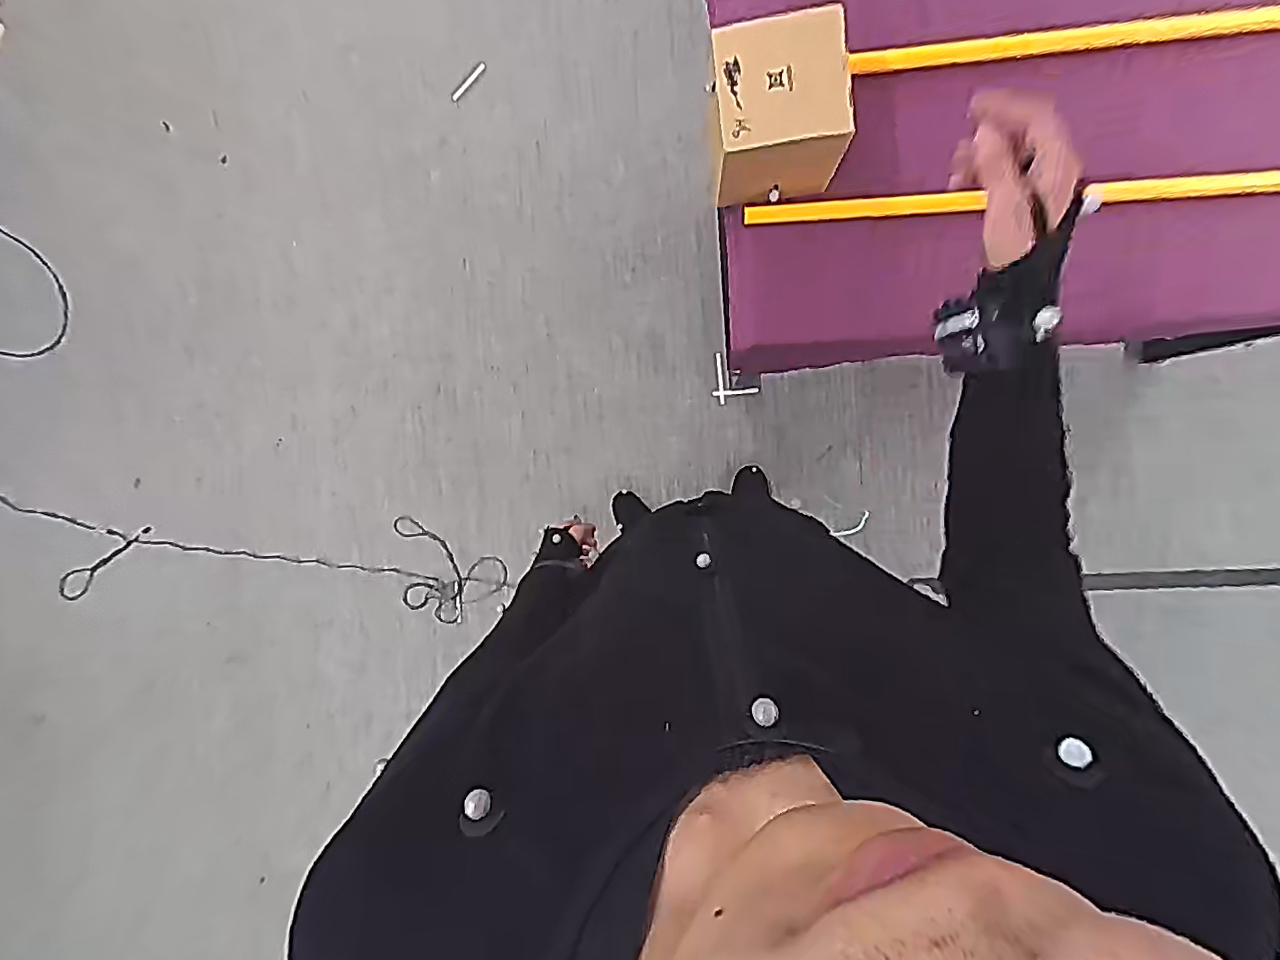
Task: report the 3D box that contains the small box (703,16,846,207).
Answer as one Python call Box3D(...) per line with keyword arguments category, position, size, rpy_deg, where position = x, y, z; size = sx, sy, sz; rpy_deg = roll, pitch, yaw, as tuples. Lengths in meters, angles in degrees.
Box3D(category="small box", position=(0.192, -0.536, 0.812), size=(0.179, 0.176, 0.168), rpy_deg=(-5, 92, 5))
